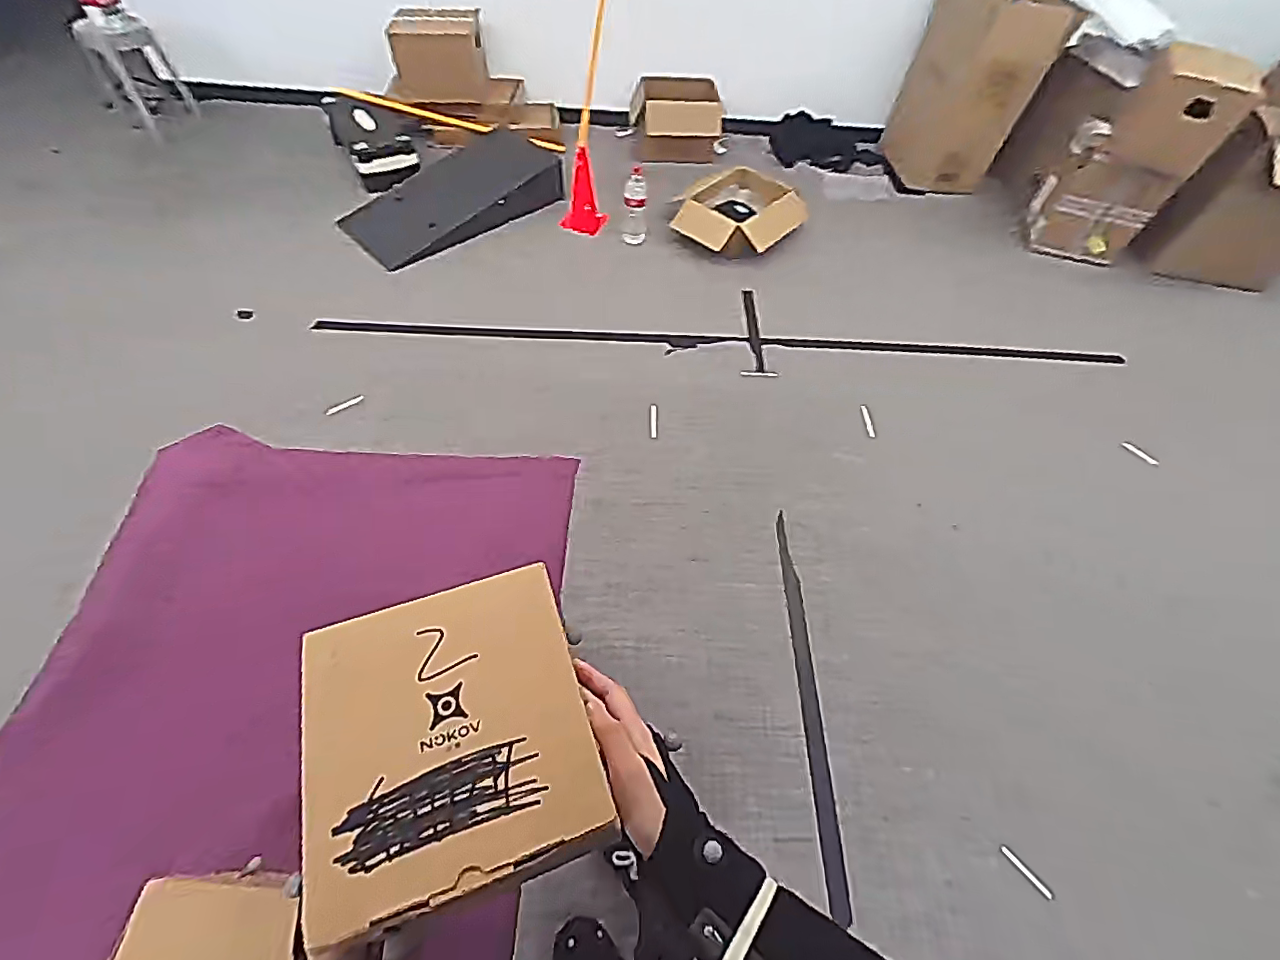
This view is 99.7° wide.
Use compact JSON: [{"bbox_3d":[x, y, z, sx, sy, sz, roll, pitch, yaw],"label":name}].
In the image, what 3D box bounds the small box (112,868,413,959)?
[{"bbox_3d":[-0.325,0.442,0.467,0.179,0.176,0.168,4,56,-2],"label":"small box"}]
